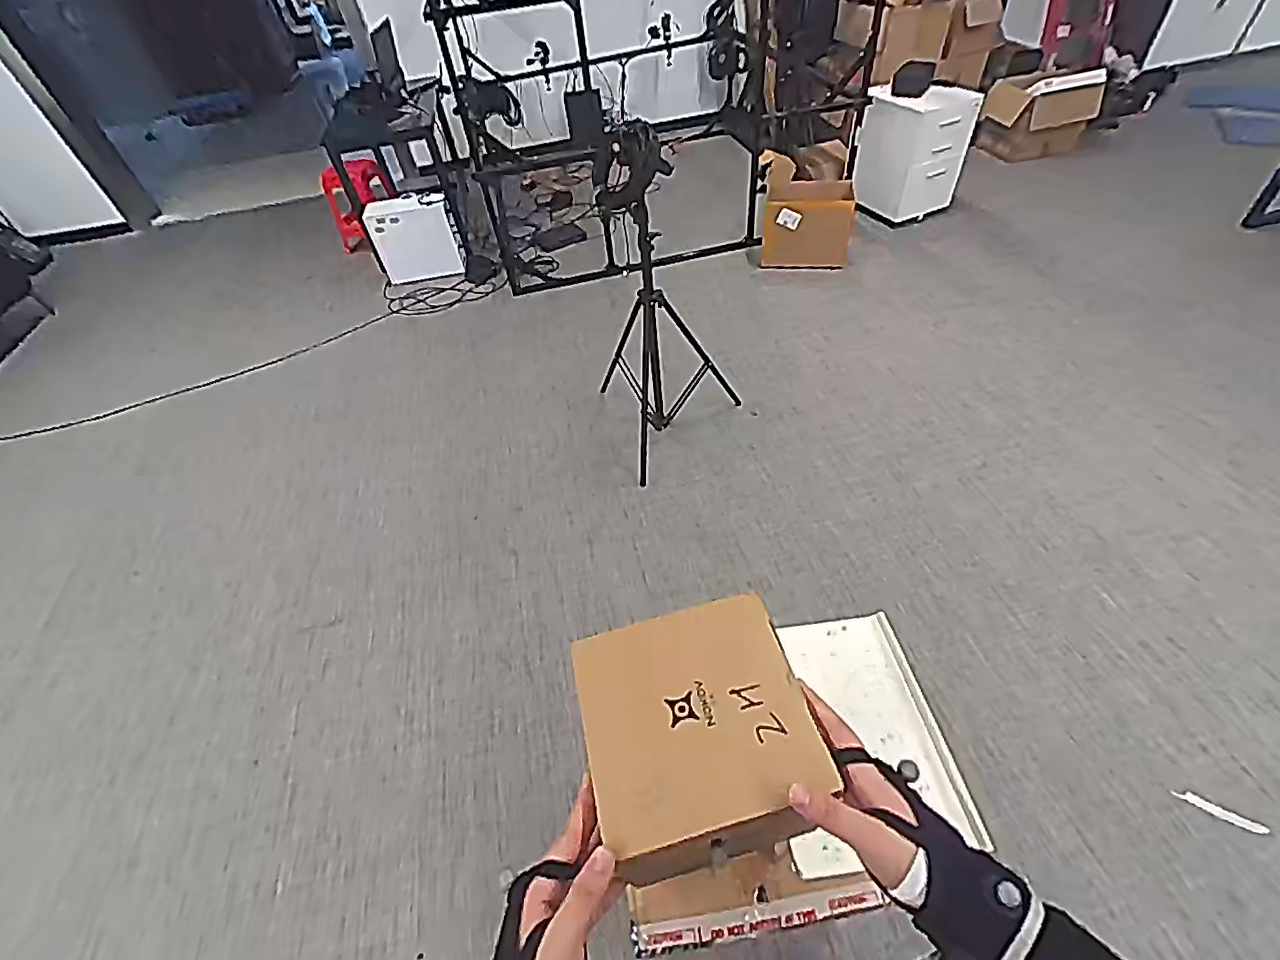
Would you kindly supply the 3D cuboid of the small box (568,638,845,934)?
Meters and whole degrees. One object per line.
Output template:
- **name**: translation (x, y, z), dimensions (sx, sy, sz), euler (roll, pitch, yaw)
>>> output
- **small box**: translation (0.049, 0.267, 0.468), dimensions (0.179, 0.176, 0.168), euler (-14, 49, -4)

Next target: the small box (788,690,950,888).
- **small box**: translation (0.239, 0.389, 0.678), dimensions (0.168, 0.176, 0.179), euler (-7, 49, -2)
